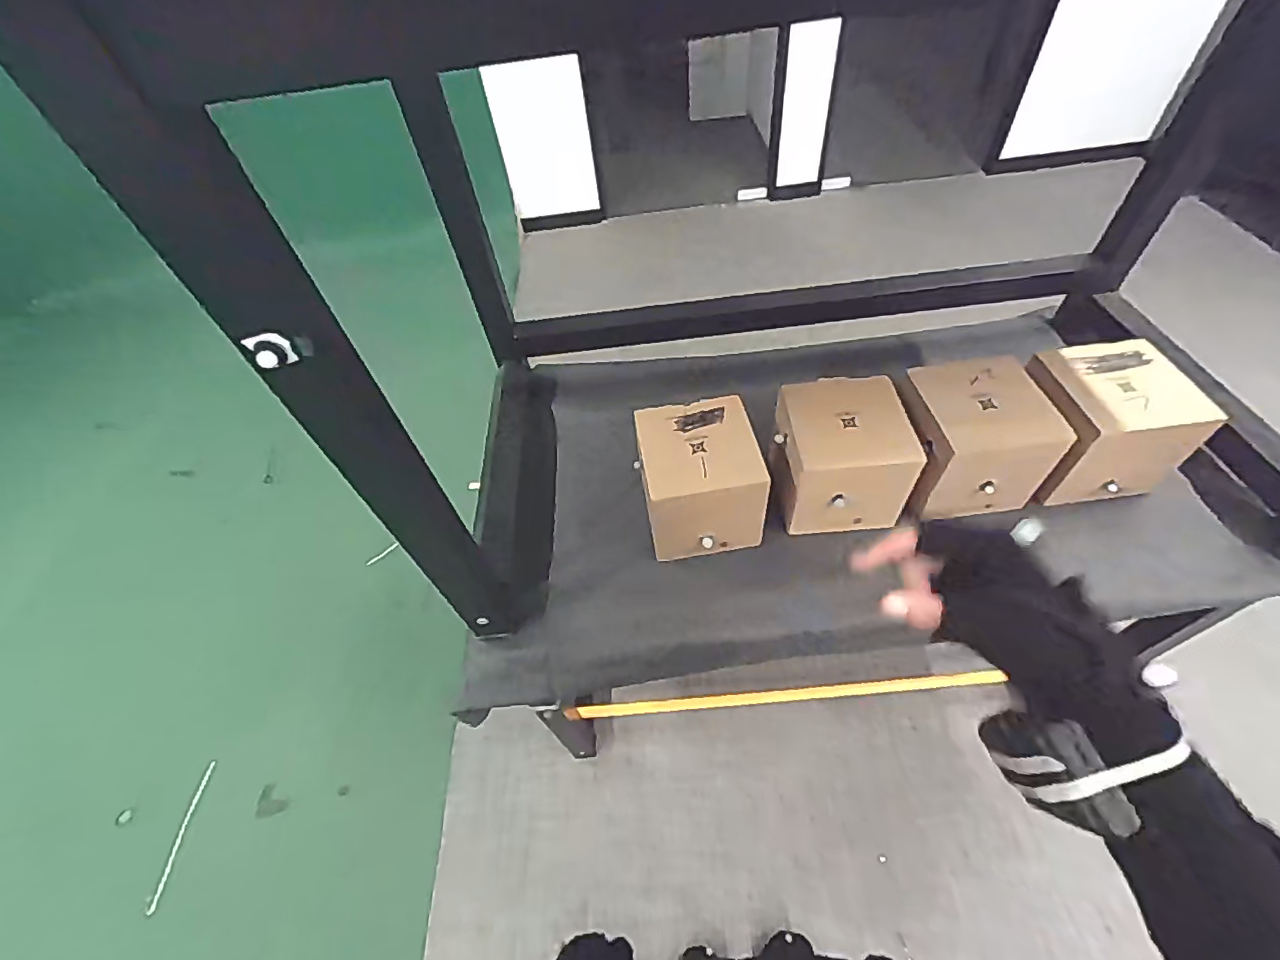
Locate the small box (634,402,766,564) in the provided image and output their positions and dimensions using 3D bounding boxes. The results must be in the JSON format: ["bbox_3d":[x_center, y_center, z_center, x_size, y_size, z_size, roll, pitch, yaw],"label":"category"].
[{"bbox_3d":[0.087,0.007,0.846,0.168,0.176,0.179,-10,51,-1],"label":"small box"}]
